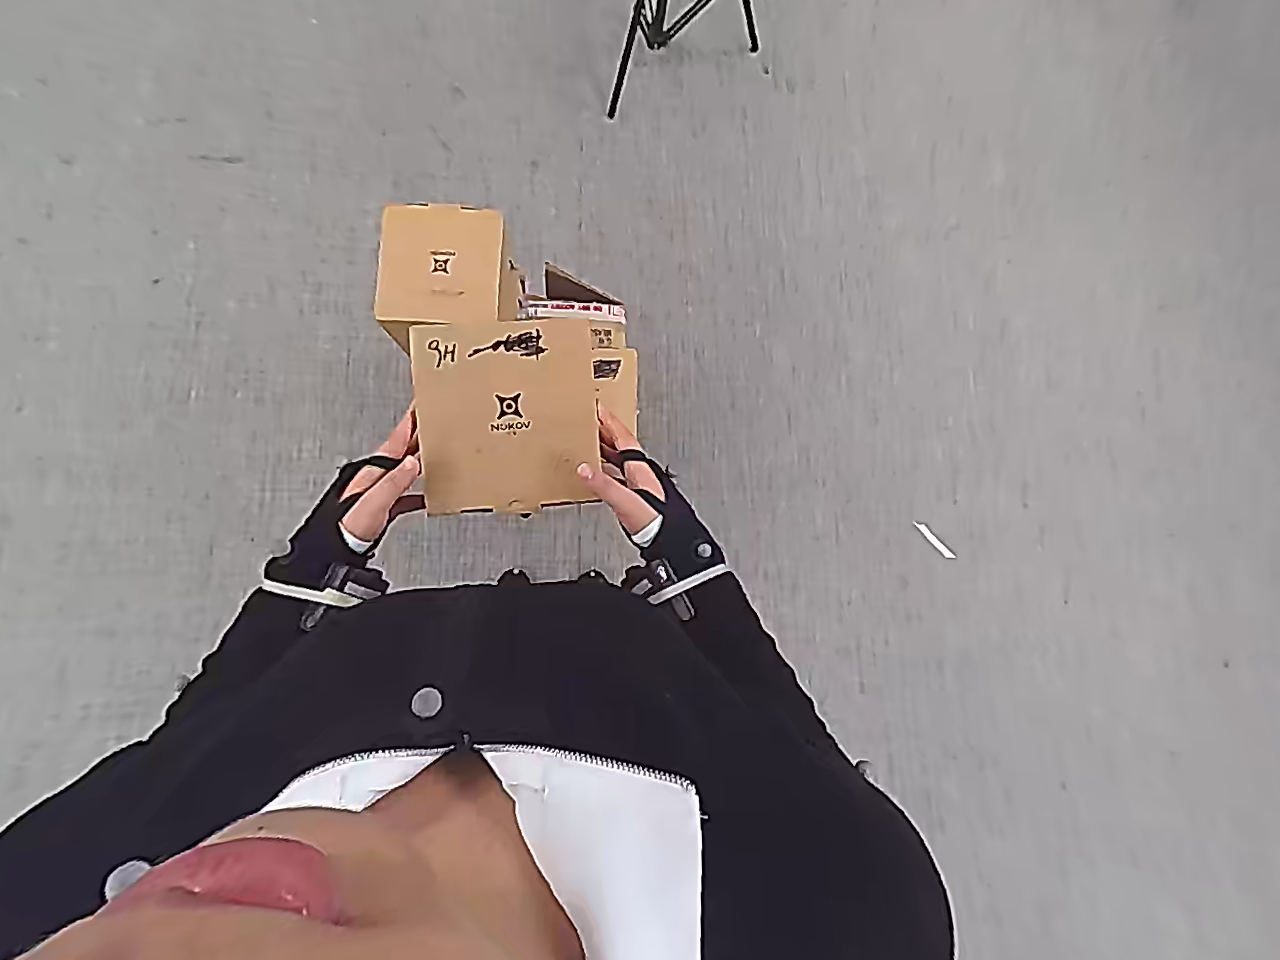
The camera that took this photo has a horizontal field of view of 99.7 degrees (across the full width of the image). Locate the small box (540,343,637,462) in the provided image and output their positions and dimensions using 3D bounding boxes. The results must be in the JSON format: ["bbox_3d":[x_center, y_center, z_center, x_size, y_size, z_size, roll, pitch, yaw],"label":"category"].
[{"bbox_3d":[-0.098,-0.135,0.998,0.168,0.176,0.179,1,83,-8],"label":"small box"}]

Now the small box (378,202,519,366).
[{"bbox_3d":[-0.281,-0.290,0.829,0.168,0.176,0.179,1,83,-5],"label":"small box"}]

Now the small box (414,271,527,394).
[{"bbox_3d":[-0.300,-0.270,0.989,0.168,0.176,0.179,1,82,-6],"label":"small box"}]
